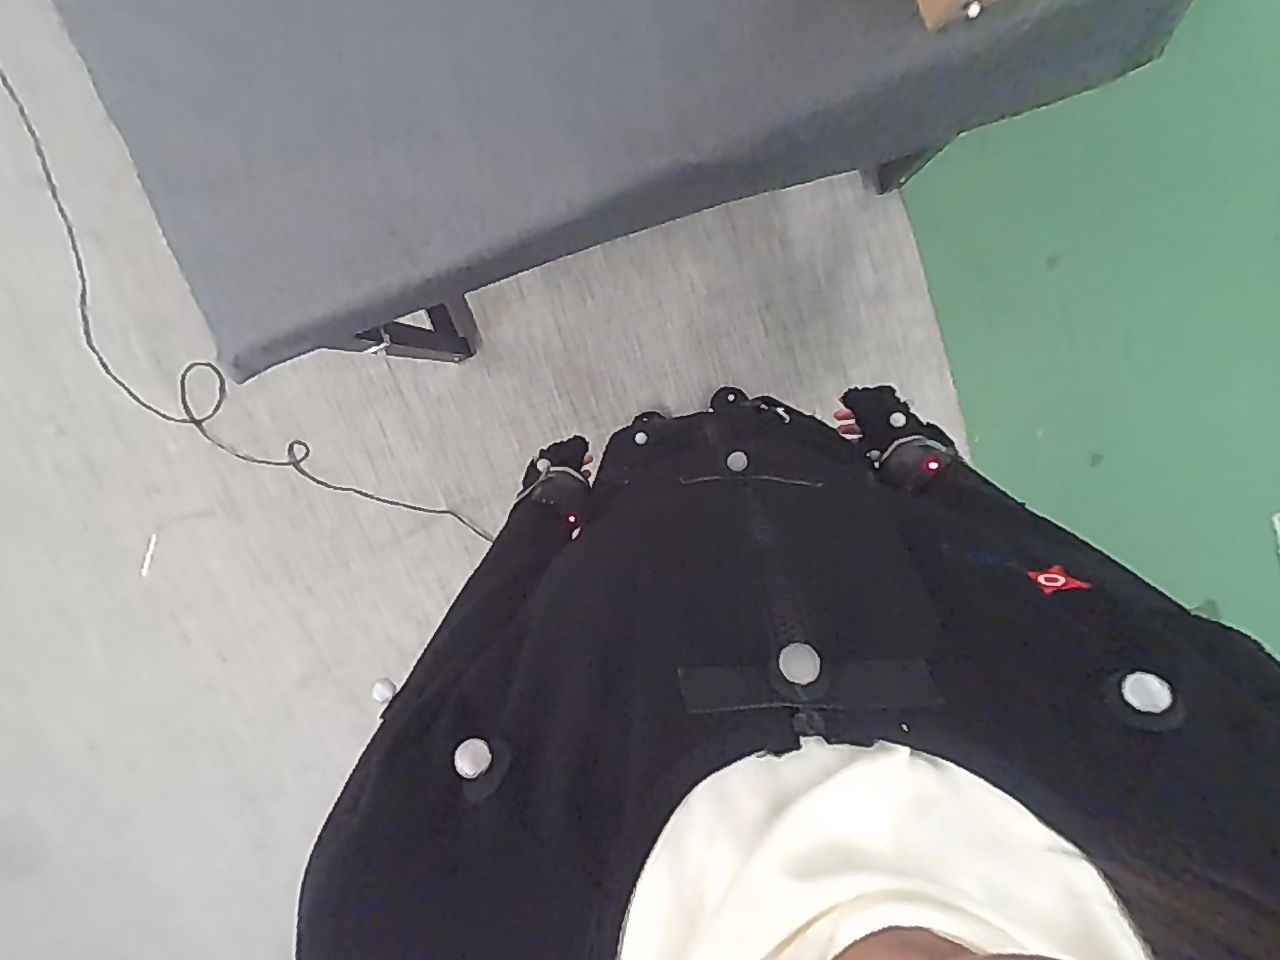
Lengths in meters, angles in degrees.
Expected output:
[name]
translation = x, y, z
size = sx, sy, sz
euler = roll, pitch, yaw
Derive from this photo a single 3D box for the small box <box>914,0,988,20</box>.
[small box]
translation = 0.352, -0.589, 0.504
size = 0.168, 0.176, 0.179
euler = -23, 96, 7
